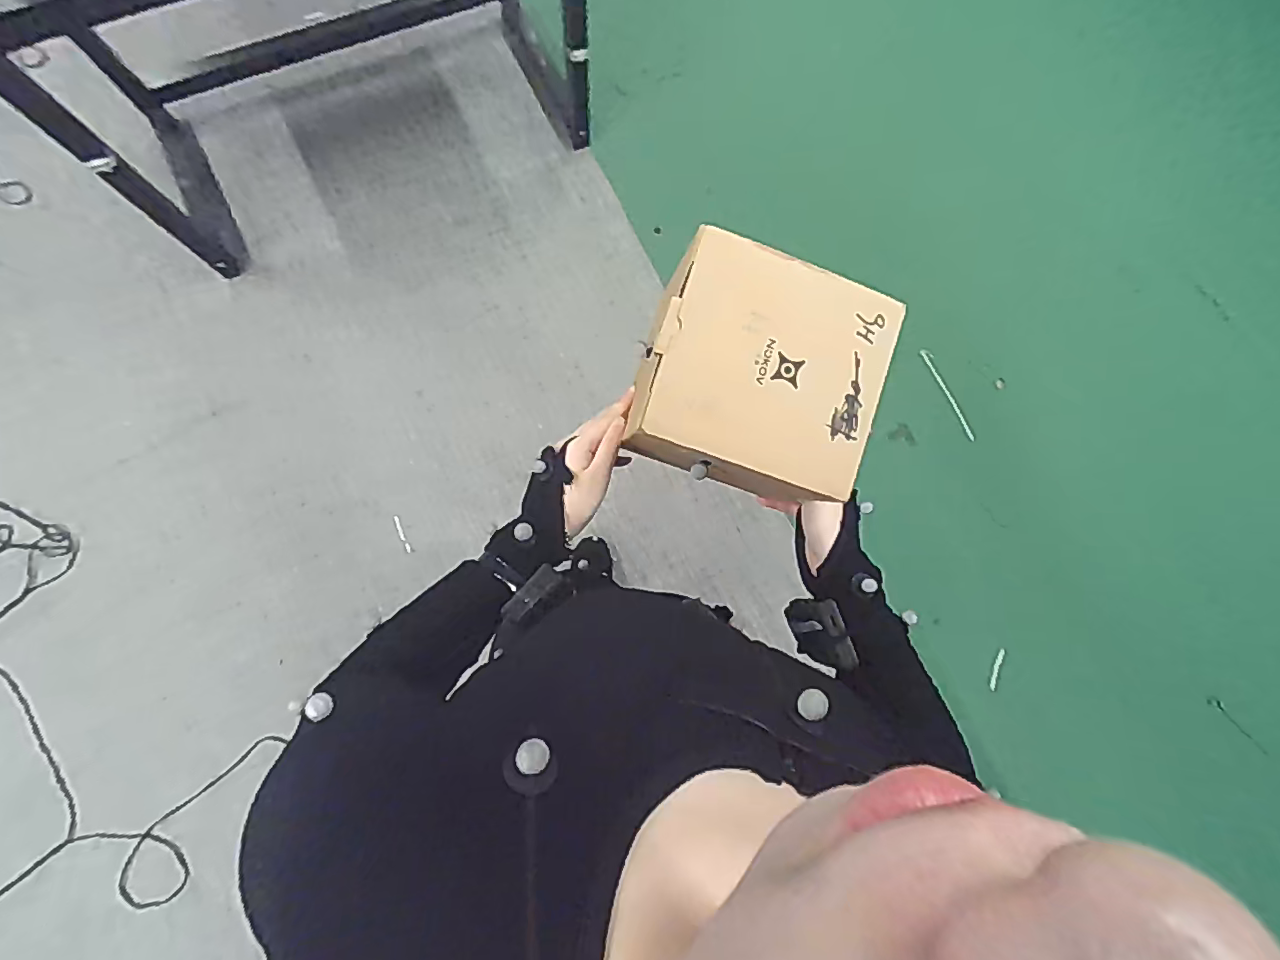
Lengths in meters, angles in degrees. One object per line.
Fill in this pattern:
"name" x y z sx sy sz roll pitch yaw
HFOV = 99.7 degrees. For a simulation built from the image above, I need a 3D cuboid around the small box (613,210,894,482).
"small box" 0.083 -0.098 0.488 0.179 0.176 0.168 19 86 -8
